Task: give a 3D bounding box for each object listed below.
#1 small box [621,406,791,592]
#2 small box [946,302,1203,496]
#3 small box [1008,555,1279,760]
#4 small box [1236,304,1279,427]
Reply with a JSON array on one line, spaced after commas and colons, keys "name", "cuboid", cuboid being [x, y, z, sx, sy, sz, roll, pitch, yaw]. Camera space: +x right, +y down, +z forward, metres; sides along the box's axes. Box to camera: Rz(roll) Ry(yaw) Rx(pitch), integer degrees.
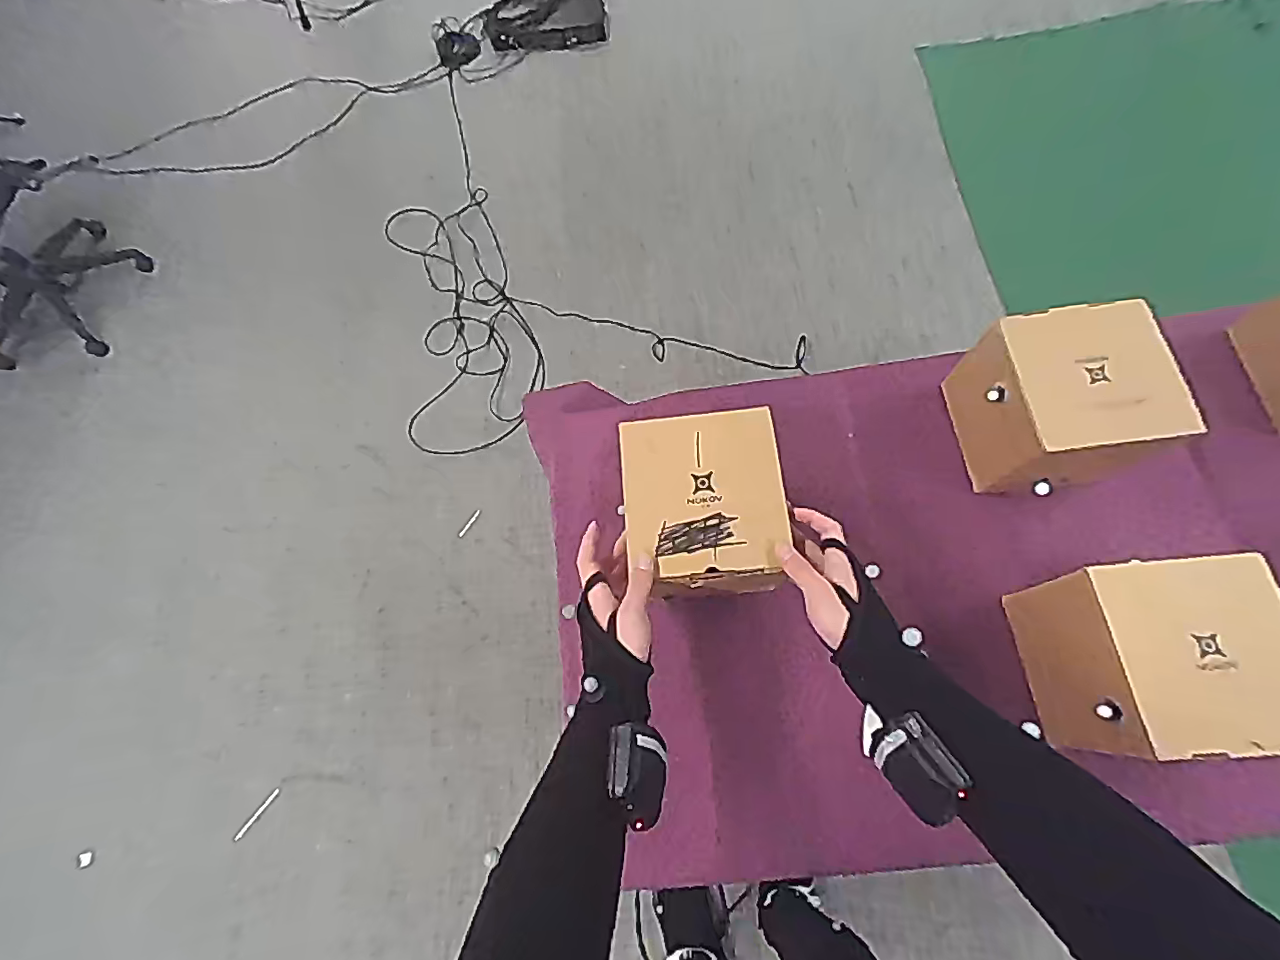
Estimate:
[{"name": "small box", "cuboid": [0.073, 0.034, 0.634, 0.168, 0.176, 0.179, -5, 70, 4]}, {"name": "small box", "cuboid": [0.518, -0.092, 0.680, 0.168, 0.176, 0.179, -6, 71, 5]}, {"name": "small box", "cuboid": [0.536, 0.189, 0.575, 0.168, 0.176, 0.179, -6, 69, 4]}, {"name": "small box", "cuboid": [0.909, -0.163, 0.656, 0.168, 0.176, 0.179, -7, 71, 6]}]
